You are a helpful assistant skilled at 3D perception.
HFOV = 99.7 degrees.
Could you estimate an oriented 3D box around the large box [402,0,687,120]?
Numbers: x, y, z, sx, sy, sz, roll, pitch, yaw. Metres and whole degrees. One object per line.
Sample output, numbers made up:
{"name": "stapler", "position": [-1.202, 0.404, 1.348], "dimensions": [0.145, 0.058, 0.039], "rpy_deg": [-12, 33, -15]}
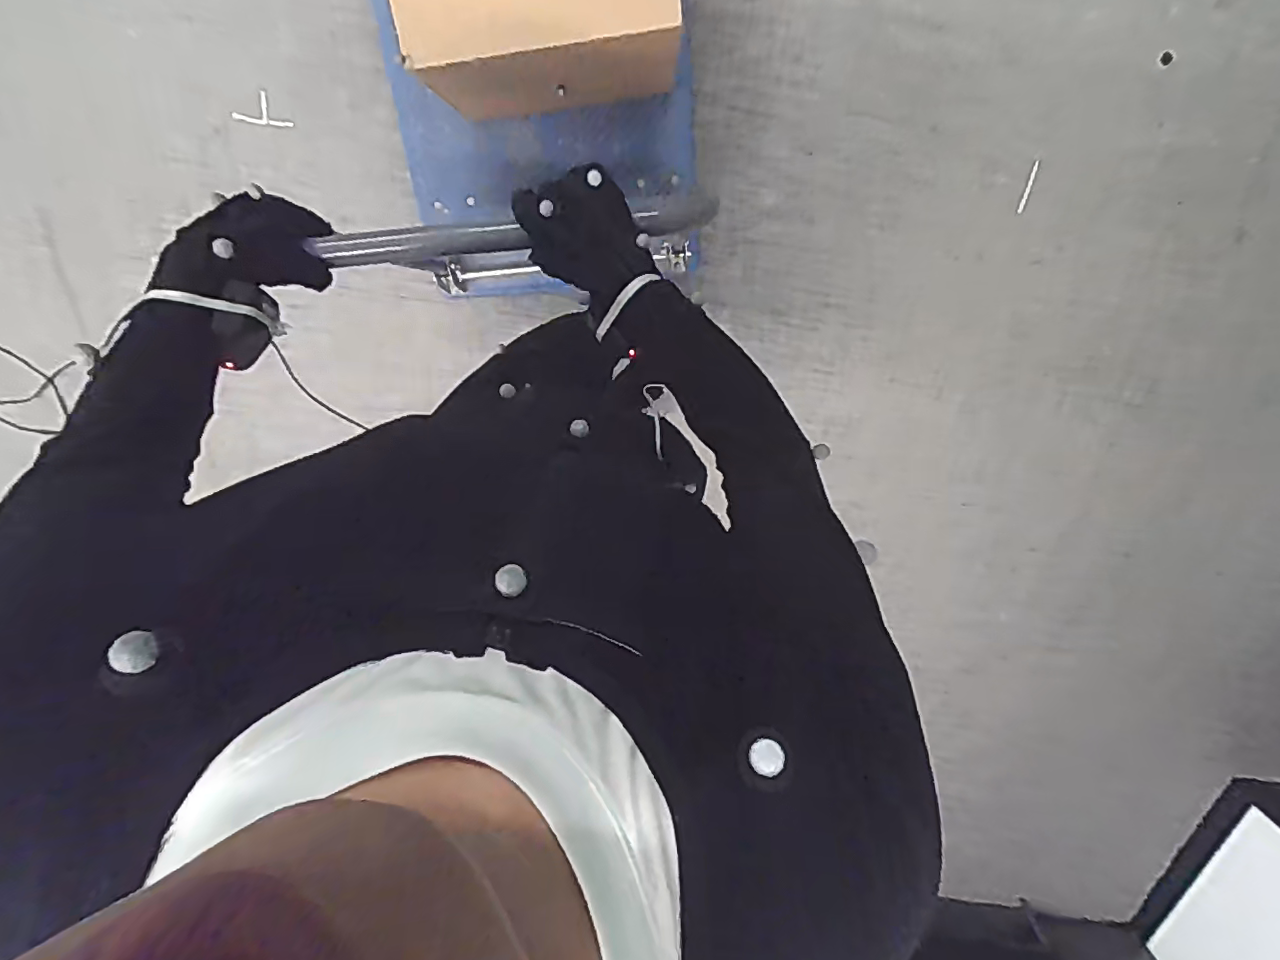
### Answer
{"name": "large box", "position": [-0.145, -0.818, 0.869], "dimensions": [0.408, 0.320, 0.320], "rpy_deg": [-6, 112, 5]}
